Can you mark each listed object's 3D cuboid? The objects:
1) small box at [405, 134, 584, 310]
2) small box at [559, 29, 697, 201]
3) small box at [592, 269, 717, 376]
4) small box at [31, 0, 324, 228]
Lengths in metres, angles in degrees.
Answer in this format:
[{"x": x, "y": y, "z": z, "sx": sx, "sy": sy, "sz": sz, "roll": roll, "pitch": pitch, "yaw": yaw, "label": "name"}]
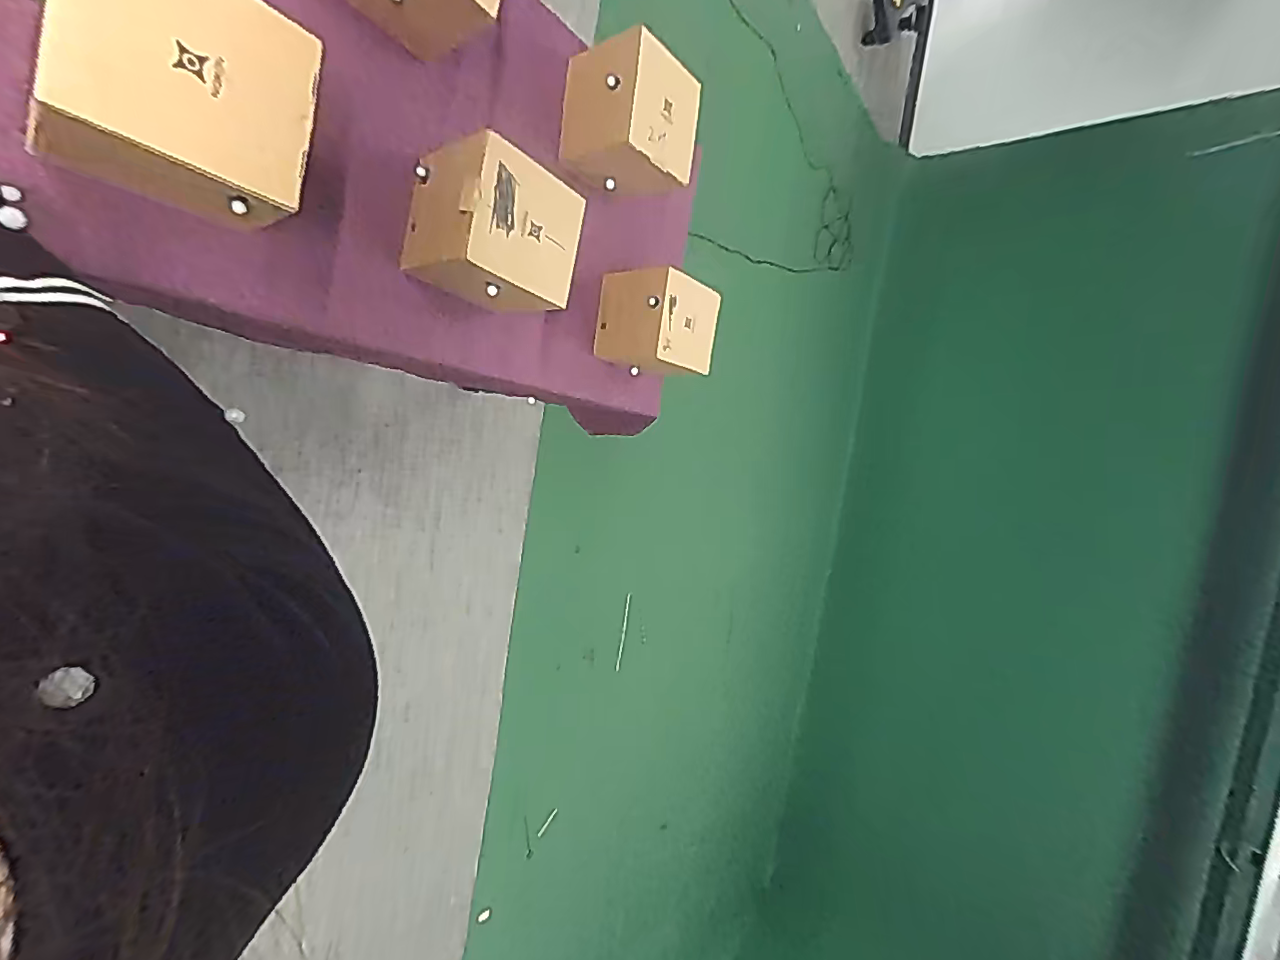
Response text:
[{"x": -0.213, "y": -0.354, "z": 0.786, "sx": 0.179, "sy": 0.176, "sz": 0.168, "roll": 10, "pitch": 91, "yaw": -52, "label": "small box"}, {"x": -0.023, "y": -0.621, "z": 0.948, "sx": 0.168, "sy": 0.176, "sz": 0.179, "roll": 1, "pitch": 98, "yaw": -50, "label": "small box"}, {"x": 0.030, "y": -0.310, "z": 1.088, "sx": 0.179, "sy": 0.176, "sz": 0.168, "roll": 4, "pitch": 95, "yaw": -51, "label": "small box"}, {"x": -0.438, "y": -0.360, "z": 0.514, "sx": 0.179, "sy": 0.176, "sz": 0.168, "roll": 7, "pitch": 93, "yaw": -52, "label": "small box"}]
